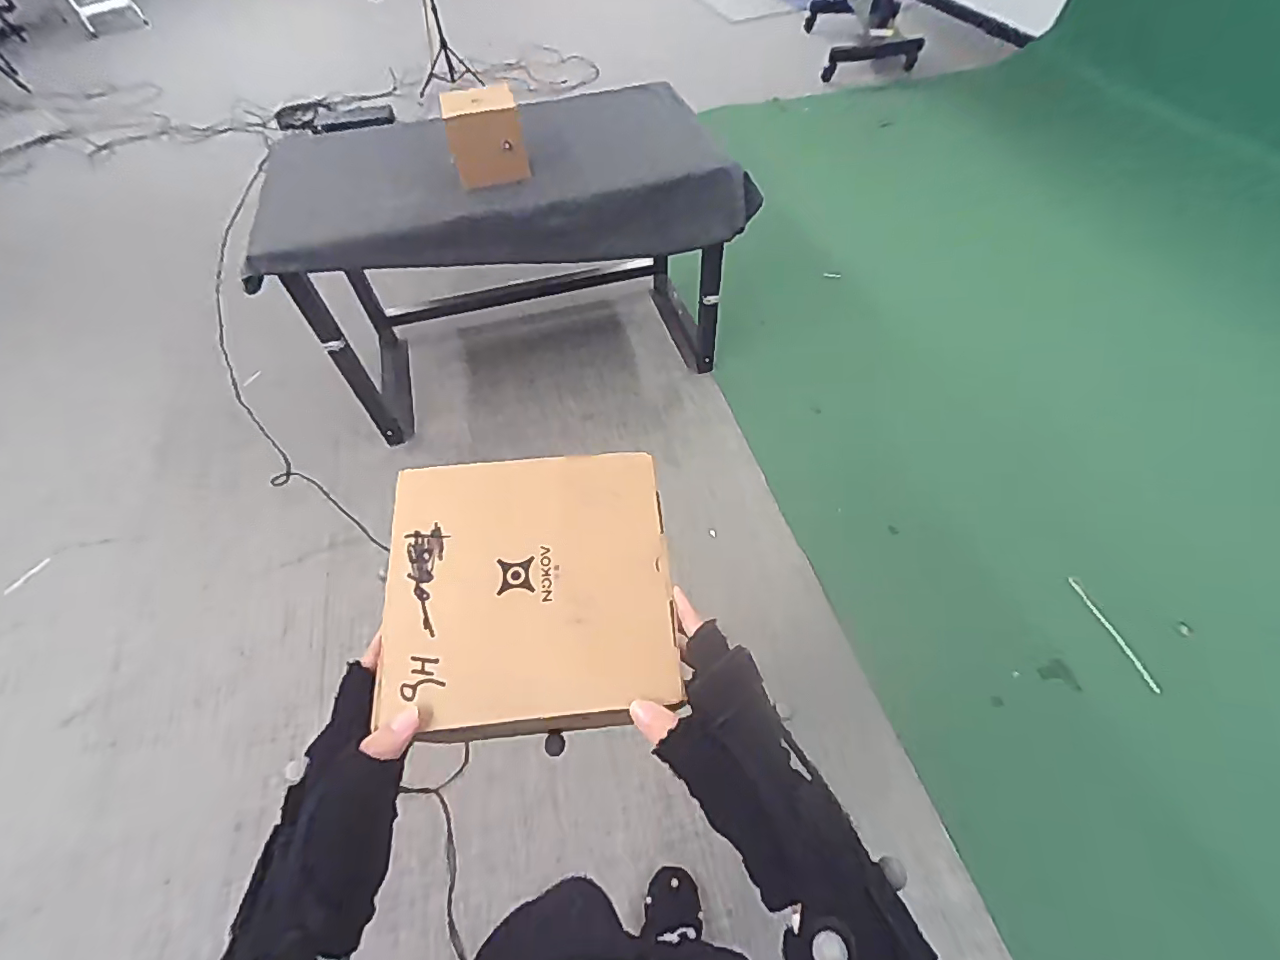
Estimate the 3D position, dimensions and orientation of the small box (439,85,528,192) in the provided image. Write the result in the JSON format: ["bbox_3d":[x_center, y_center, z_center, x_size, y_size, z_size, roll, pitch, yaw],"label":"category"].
[{"bbox_3d":[-0.391,-0.865,1.374,0.179,0.176,0.168,-16,54,-7],"label":"small box"}]
